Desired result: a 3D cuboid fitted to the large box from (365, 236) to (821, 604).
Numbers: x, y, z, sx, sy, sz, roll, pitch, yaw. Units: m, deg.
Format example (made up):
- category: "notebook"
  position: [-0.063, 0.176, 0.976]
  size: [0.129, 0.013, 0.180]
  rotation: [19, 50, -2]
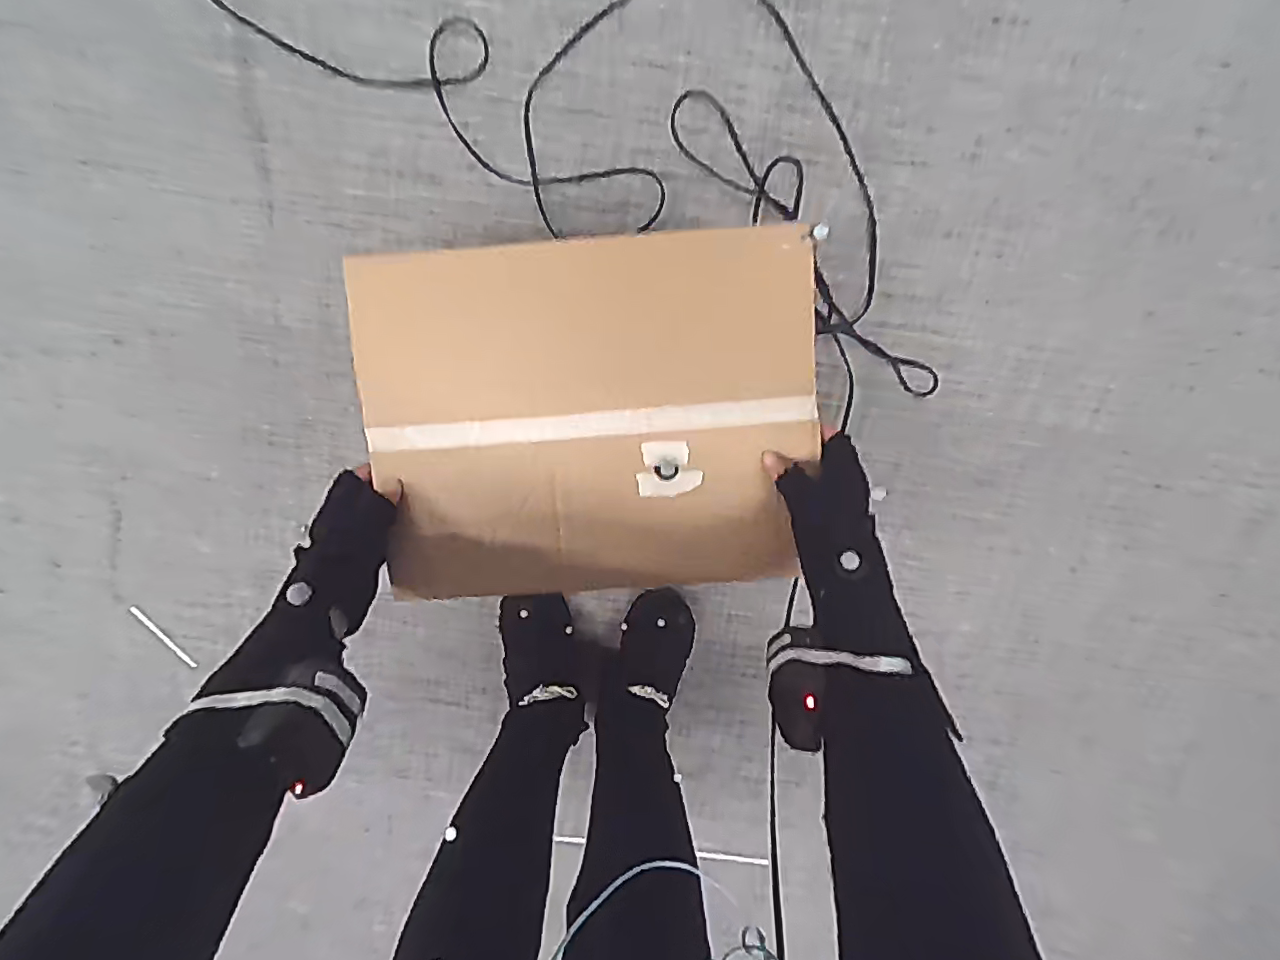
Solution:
- category: "large box"
  position: [-0.038, -0.067, 0.644]
  size: [0.408, 0.320, 0.320]
  rotation: [-4, 99, 1]
